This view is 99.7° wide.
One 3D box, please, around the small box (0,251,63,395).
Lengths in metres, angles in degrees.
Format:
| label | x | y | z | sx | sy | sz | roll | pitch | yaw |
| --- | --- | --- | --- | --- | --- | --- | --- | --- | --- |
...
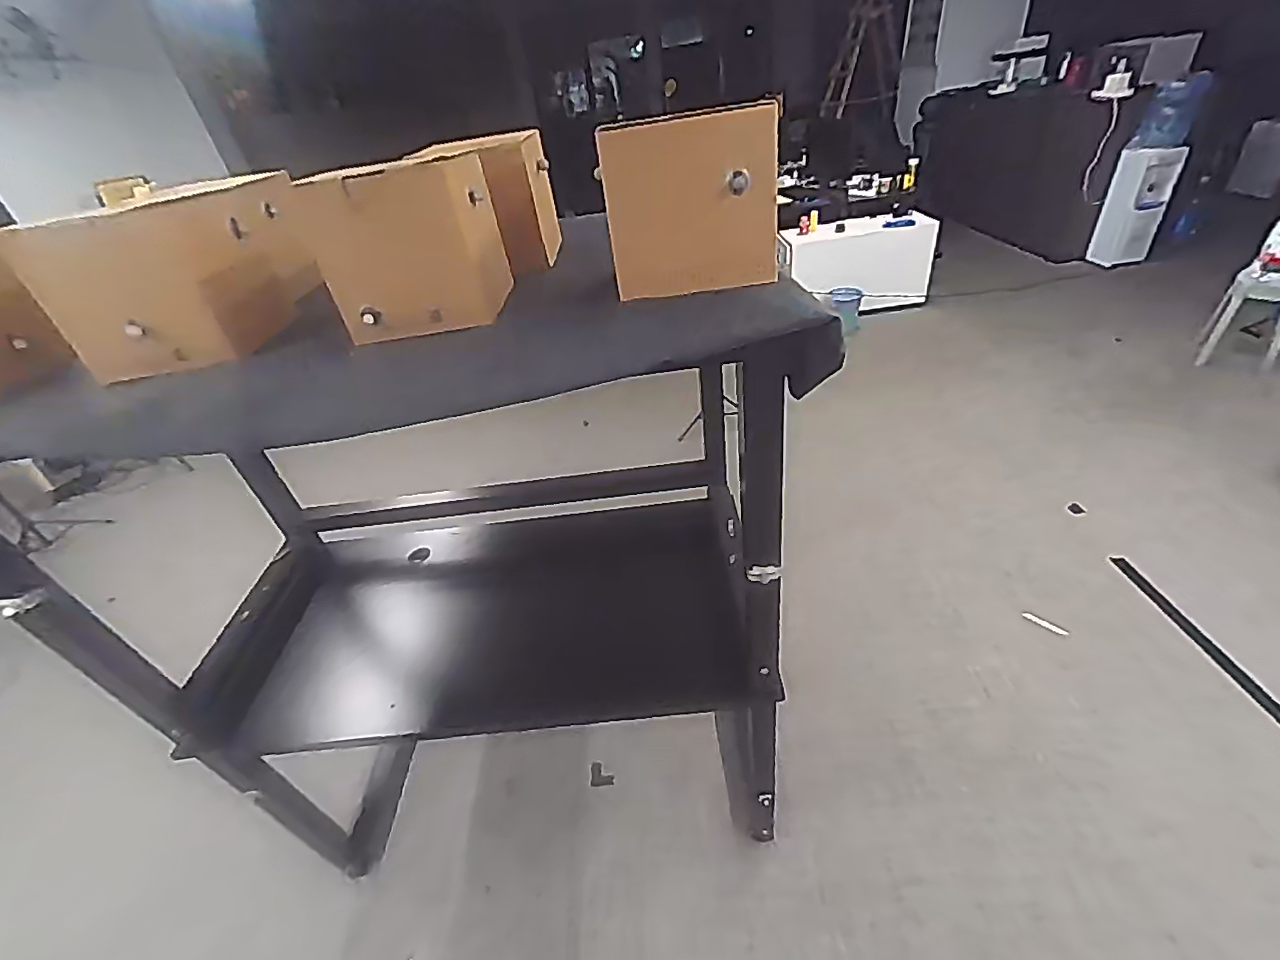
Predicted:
| label | x | y | z | sx | sy | sz | roll | pitch | yaw |
| --- | --- | --- | --- | --- | --- | --- | --- | --- | --- |
| small box | -0.876 | -0.183 | 0.650 | 0.168 | 0.176 | 0.179 | -11 | 37 | -3 |

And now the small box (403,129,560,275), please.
| label | x | y | z | sx | sy | sz | roll | pitch | yaw |
| --- | --- | --- | --- | --- | --- | --- | --- | --- | --- |
| small box | -0.222 | -0.414 | 0.816 | 0.168 | 0.176 | 0.179 | -7 | 38 | 3 |

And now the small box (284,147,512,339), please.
| label | x | y | z | sx | sy | sz | roll | pitch | yaw |
| --- | --- | --- | --- | --- | --- | --- | --- | --- | --- |
| small box | -0.261 | -0.276 | 0.637 | 0.168 | 0.176 | 0.179 | -8 | 35 | 2 |
